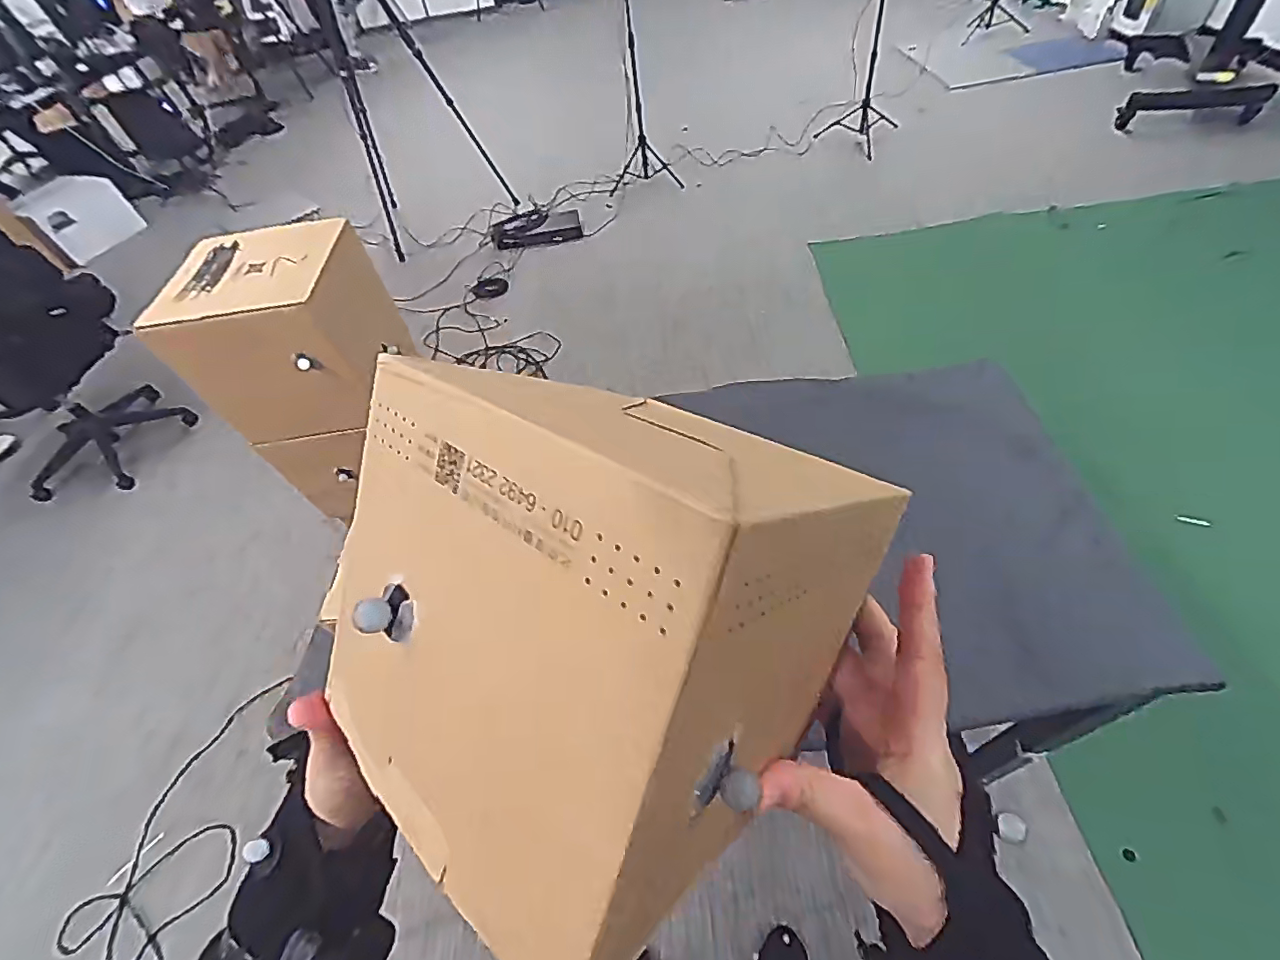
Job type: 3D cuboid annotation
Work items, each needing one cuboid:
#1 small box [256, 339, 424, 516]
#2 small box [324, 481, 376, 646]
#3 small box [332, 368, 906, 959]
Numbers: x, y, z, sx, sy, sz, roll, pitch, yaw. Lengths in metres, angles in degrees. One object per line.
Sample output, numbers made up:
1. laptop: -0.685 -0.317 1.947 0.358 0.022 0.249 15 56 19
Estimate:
1. small box: -0.375 -0.068 0.759 0.179 0.176 0.168 -9 53 3
2. small box: -0.191 0.105 0.590 0.179 0.176 0.168 -6 52 6
3. small box: -0.008 0.053 0.247 0.168 0.176 0.179 27 19 35
